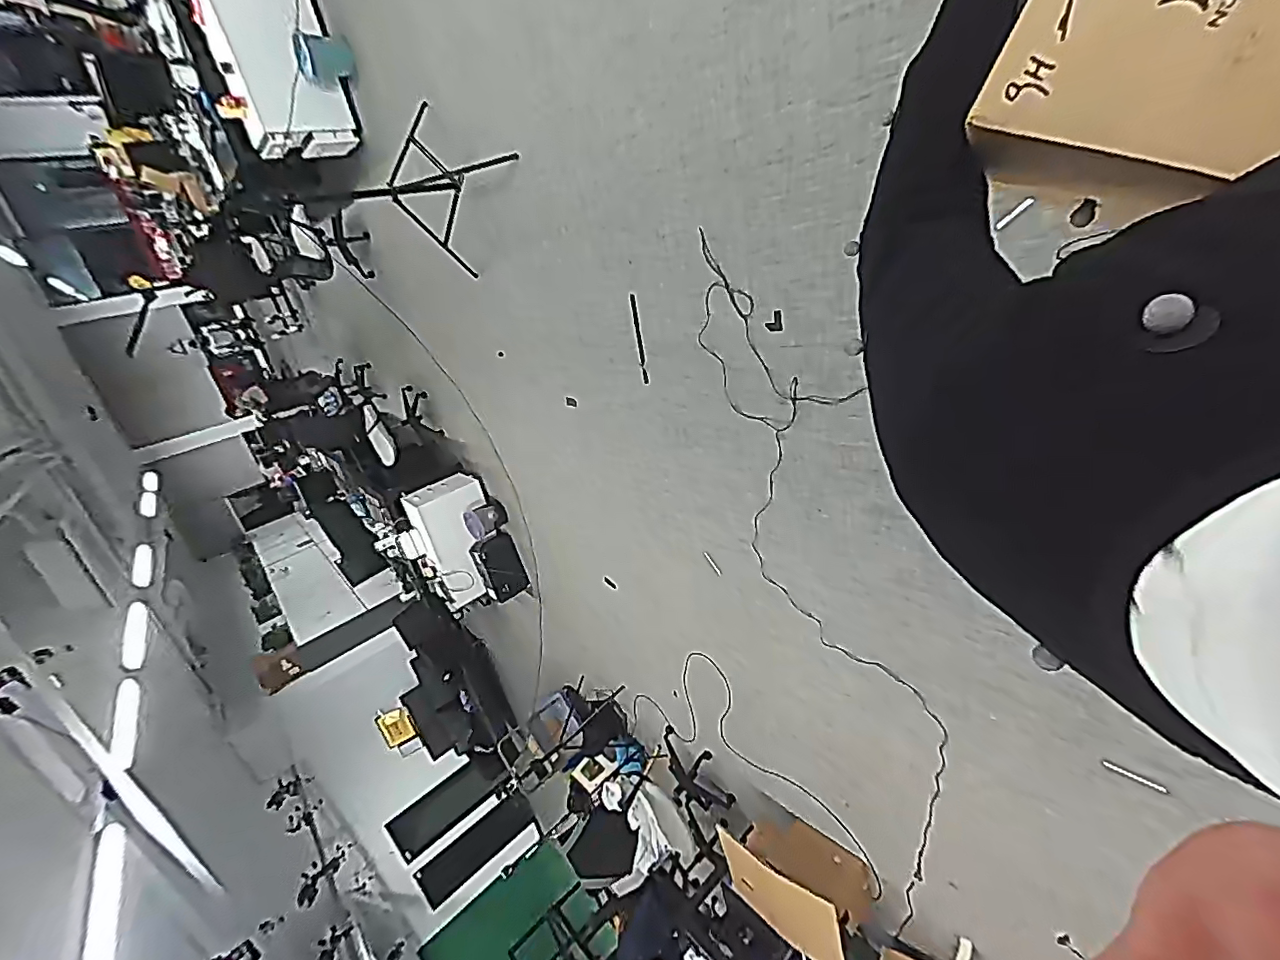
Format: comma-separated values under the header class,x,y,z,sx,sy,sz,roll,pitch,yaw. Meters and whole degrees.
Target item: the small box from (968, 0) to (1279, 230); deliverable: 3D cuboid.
class,x,y,z,sx,sy,sz,roll,pitch,yaw
small box,0.357,-0.283,0.360,0.179,0.176,0.168,33,118,25
